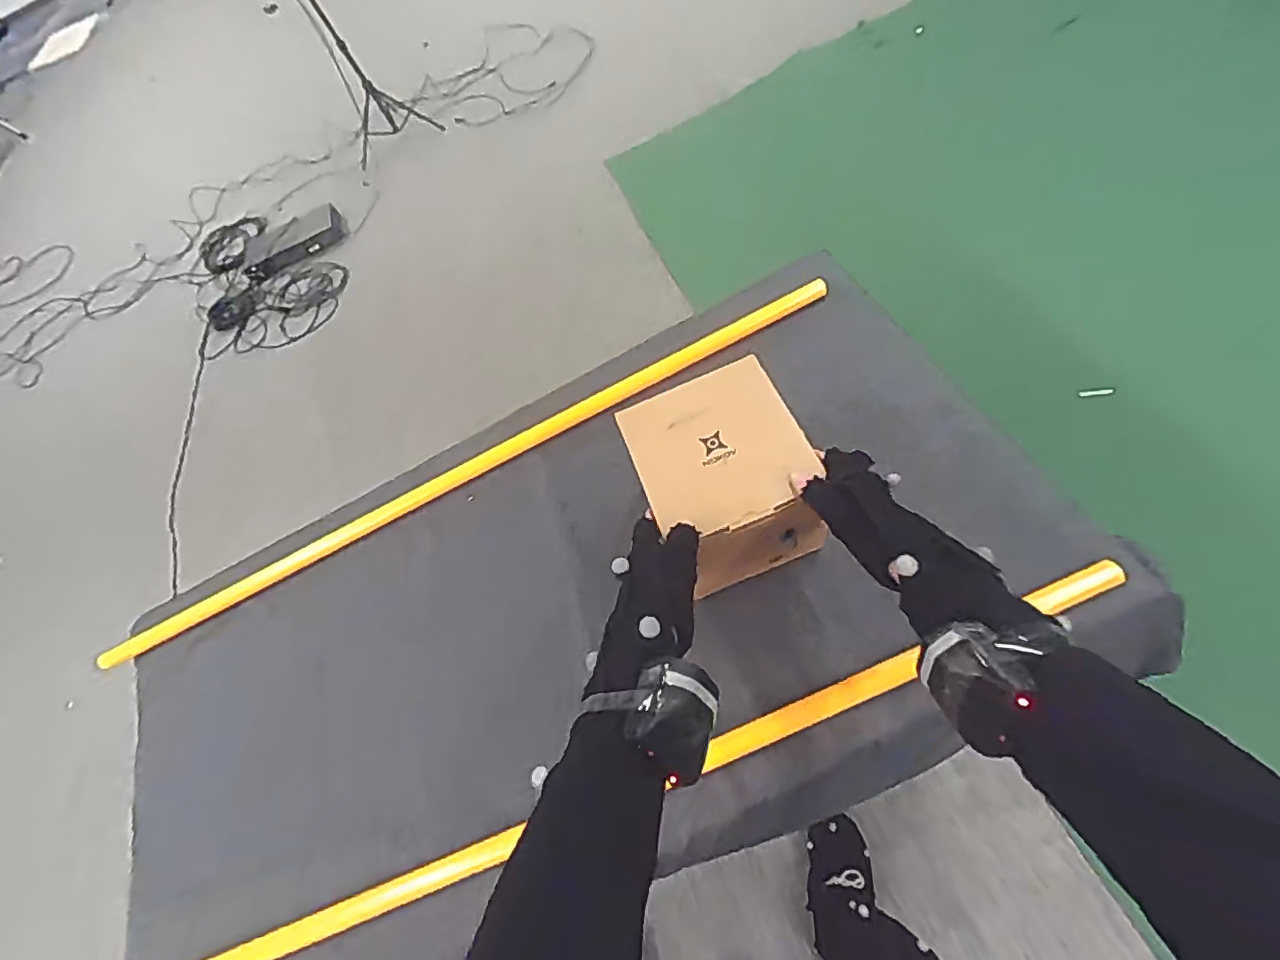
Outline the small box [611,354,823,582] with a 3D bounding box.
[{"bbox_3d":[0.087,-0.001,0.607,0.168,0.176,0.179,-22,59,1],"label":"small box"}]
